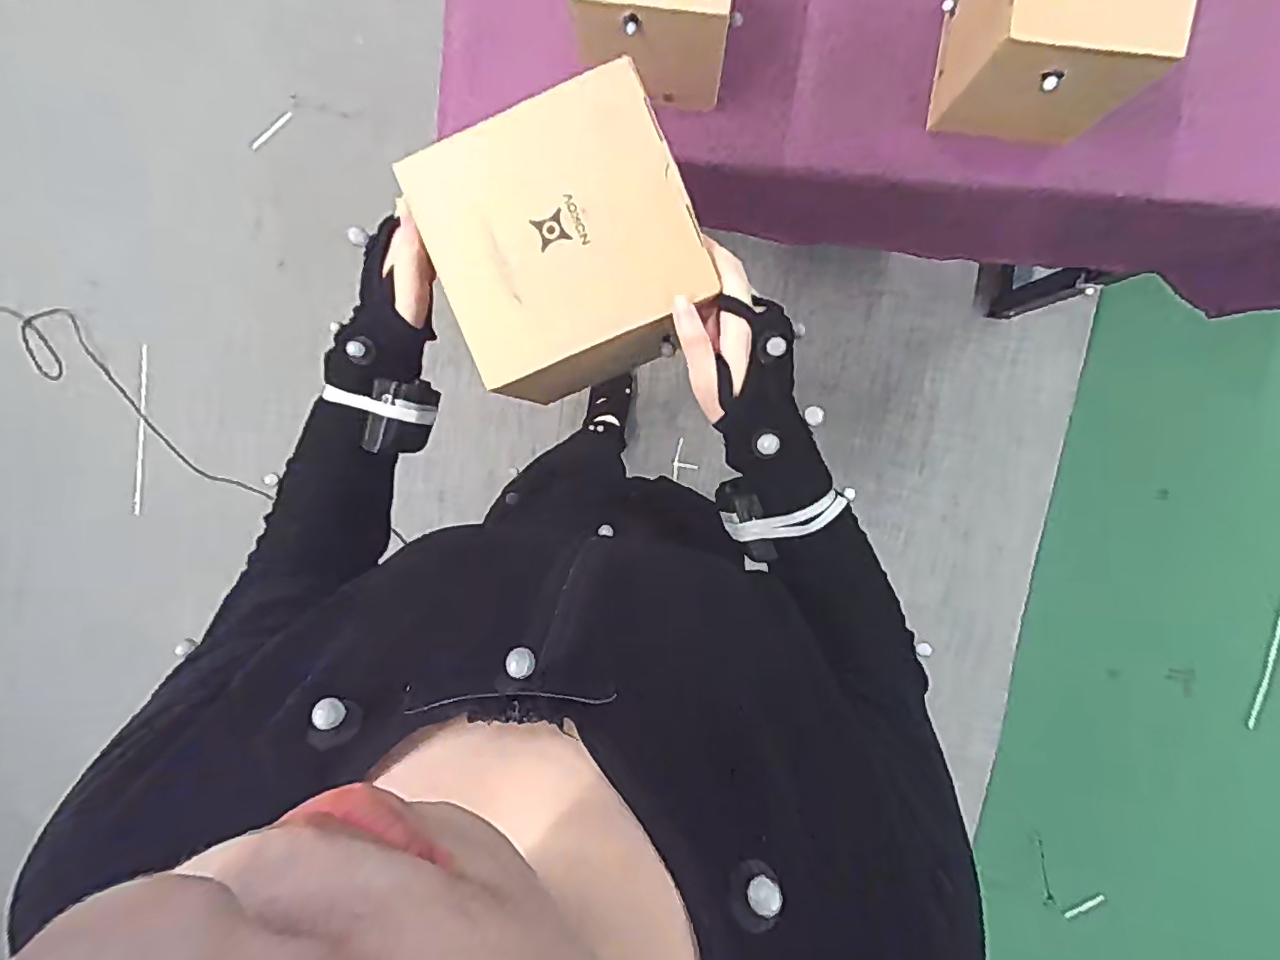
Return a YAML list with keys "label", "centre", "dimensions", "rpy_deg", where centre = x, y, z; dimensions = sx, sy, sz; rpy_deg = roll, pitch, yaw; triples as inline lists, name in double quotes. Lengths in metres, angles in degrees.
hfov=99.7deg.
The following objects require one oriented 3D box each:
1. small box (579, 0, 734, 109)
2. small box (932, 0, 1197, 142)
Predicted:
- label: "small box"
  centre: [0.027, -0.570, 0.614]
  dimensions: [0.168, 0.176, 0.179]
  rpy_deg: [9, 95, 2]
- label: "small box"
  centre: [0.458, -0.507, 0.600]
  dimensions: [0.179, 0.176, 0.168]
  rpy_deg: [8, 96, 2]
